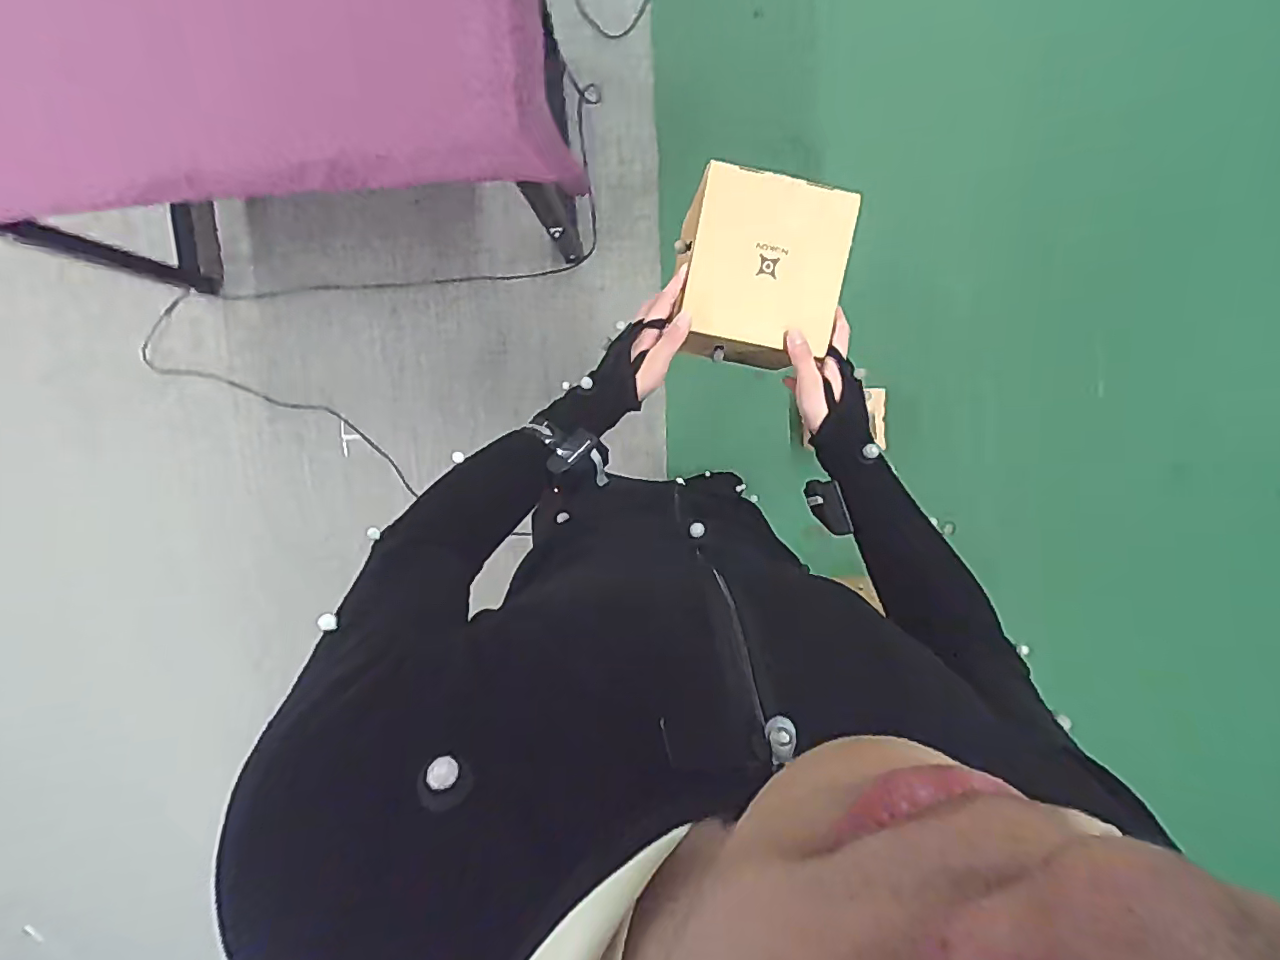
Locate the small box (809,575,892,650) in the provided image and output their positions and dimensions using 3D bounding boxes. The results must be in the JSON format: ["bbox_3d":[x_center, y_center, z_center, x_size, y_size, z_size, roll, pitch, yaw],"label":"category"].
[{"bbox_3d":[0.601,0.375,1.557,0.179,0.176,0.168,1,96,3],"label":"small box"}]

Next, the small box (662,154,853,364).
[{"bbox_3d":[0.123,-0.243,0.643,0.168,0.176,0.179,10,95,-4],"label":"small box"}]

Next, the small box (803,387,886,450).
[{"bbox_3d":[0.563,-0.170,1.504,0.179,0.176,0.168,-2,95,4],"label":"small box"}]
